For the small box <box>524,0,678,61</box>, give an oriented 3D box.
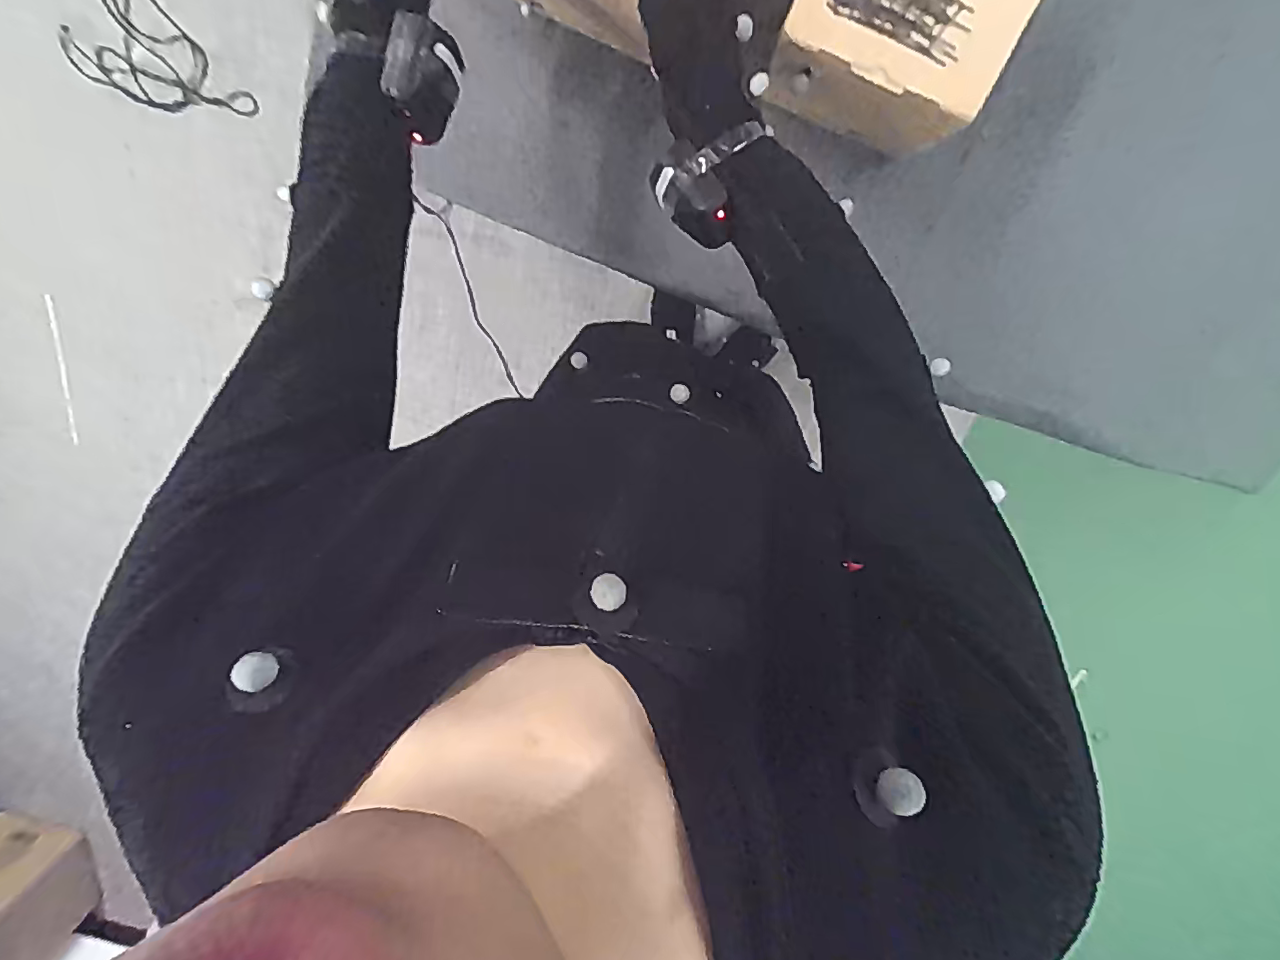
[{"bbox_3d":[-0.035,-0.506,0.458,0.168,0.176,0.179,23,111,-3],"label":"small box"}]
